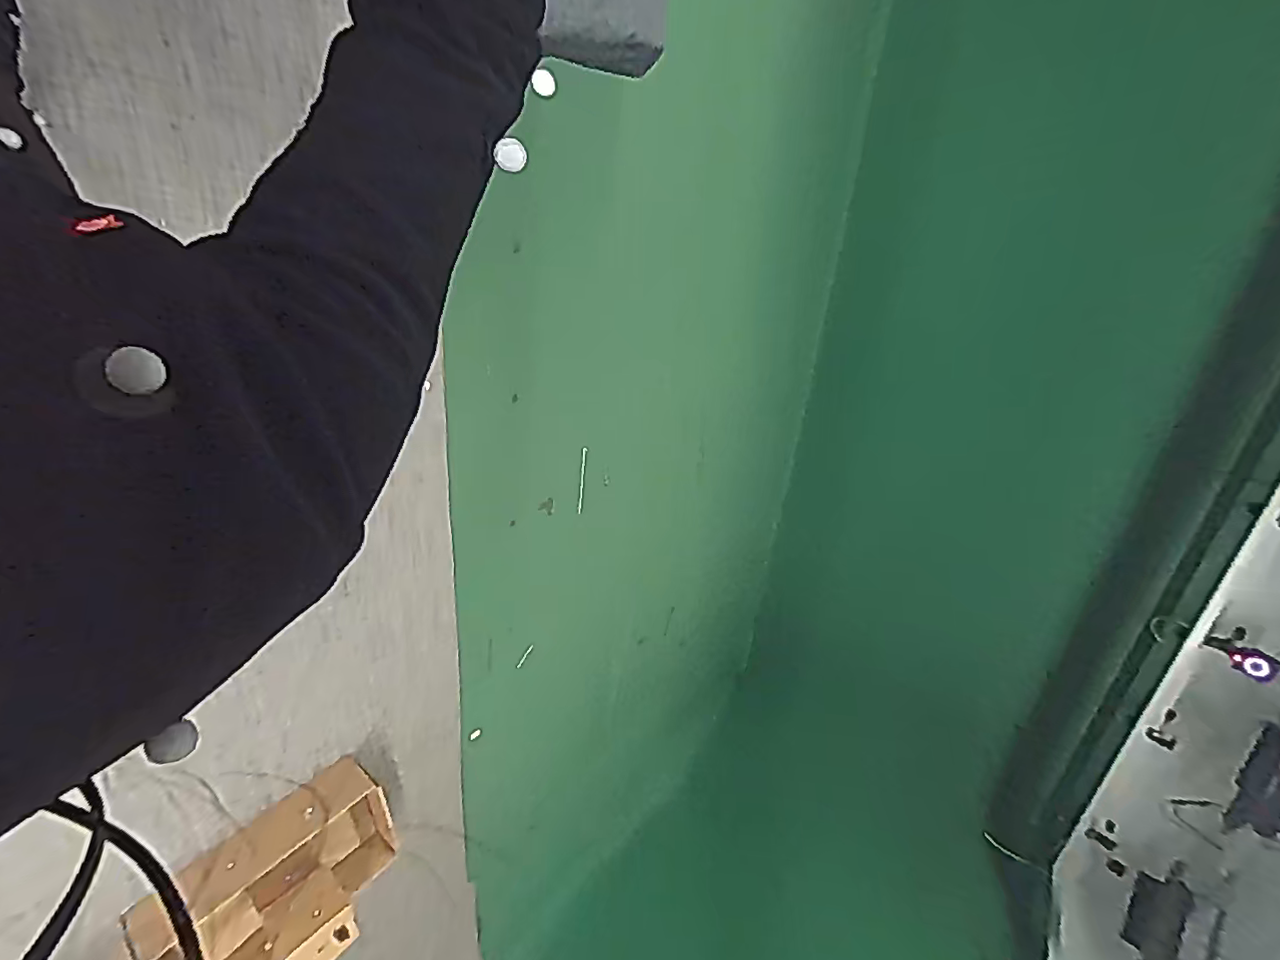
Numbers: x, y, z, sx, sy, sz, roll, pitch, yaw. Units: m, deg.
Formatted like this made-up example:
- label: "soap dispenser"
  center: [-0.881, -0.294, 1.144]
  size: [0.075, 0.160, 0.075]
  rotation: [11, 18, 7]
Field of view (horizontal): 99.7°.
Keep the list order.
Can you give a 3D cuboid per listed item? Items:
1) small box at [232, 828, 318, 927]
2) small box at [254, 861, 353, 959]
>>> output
- label: "small box"
  center: [-1.089, 1.211, 1.637]
  size: [0.179, 0.176, 0.168]
  rotation: [-28, 129, -44]
- label: "small box"
  center: [-0.959, 1.251, 1.543]
  size: [0.179, 0.176, 0.168]
  rotation: [-25, 127, -47]
